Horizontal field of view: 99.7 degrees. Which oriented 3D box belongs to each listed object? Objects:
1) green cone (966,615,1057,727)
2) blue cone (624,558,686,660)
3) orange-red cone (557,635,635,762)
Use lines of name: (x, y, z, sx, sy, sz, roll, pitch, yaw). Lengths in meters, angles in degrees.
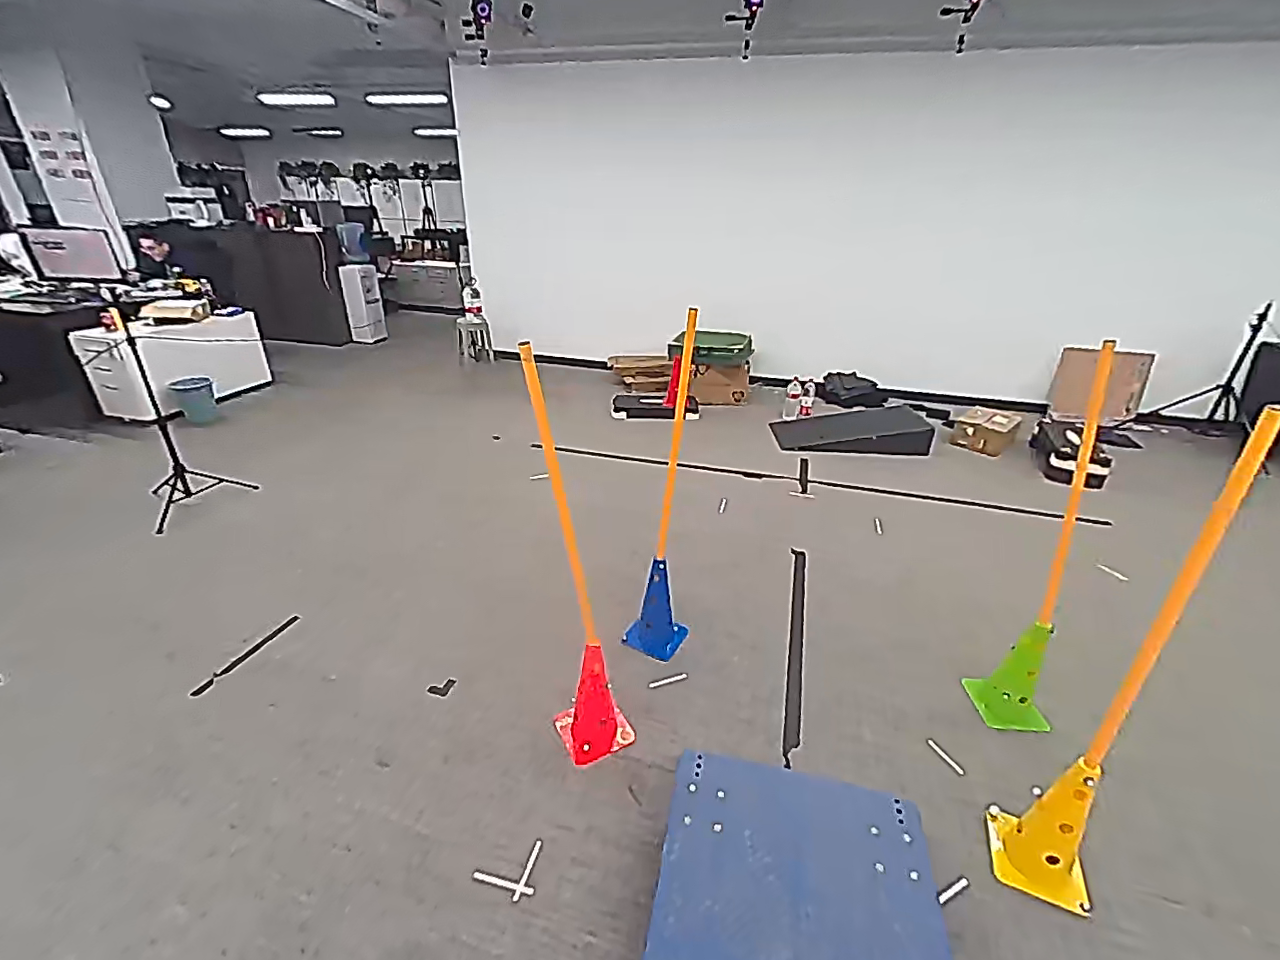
green cone: (1.214, 0.570, 1.698, 0.200, 0.368, 0.202, 2, 28, 1)
blue cone: (0.064, 0.434, 1.937, 0.193, 0.380, 0.192, 16, 31, 26)
orange-red cone: (-0.128, 0.597, 1.572, 0.199, 0.360, 0.198, -12, 30, -27)
